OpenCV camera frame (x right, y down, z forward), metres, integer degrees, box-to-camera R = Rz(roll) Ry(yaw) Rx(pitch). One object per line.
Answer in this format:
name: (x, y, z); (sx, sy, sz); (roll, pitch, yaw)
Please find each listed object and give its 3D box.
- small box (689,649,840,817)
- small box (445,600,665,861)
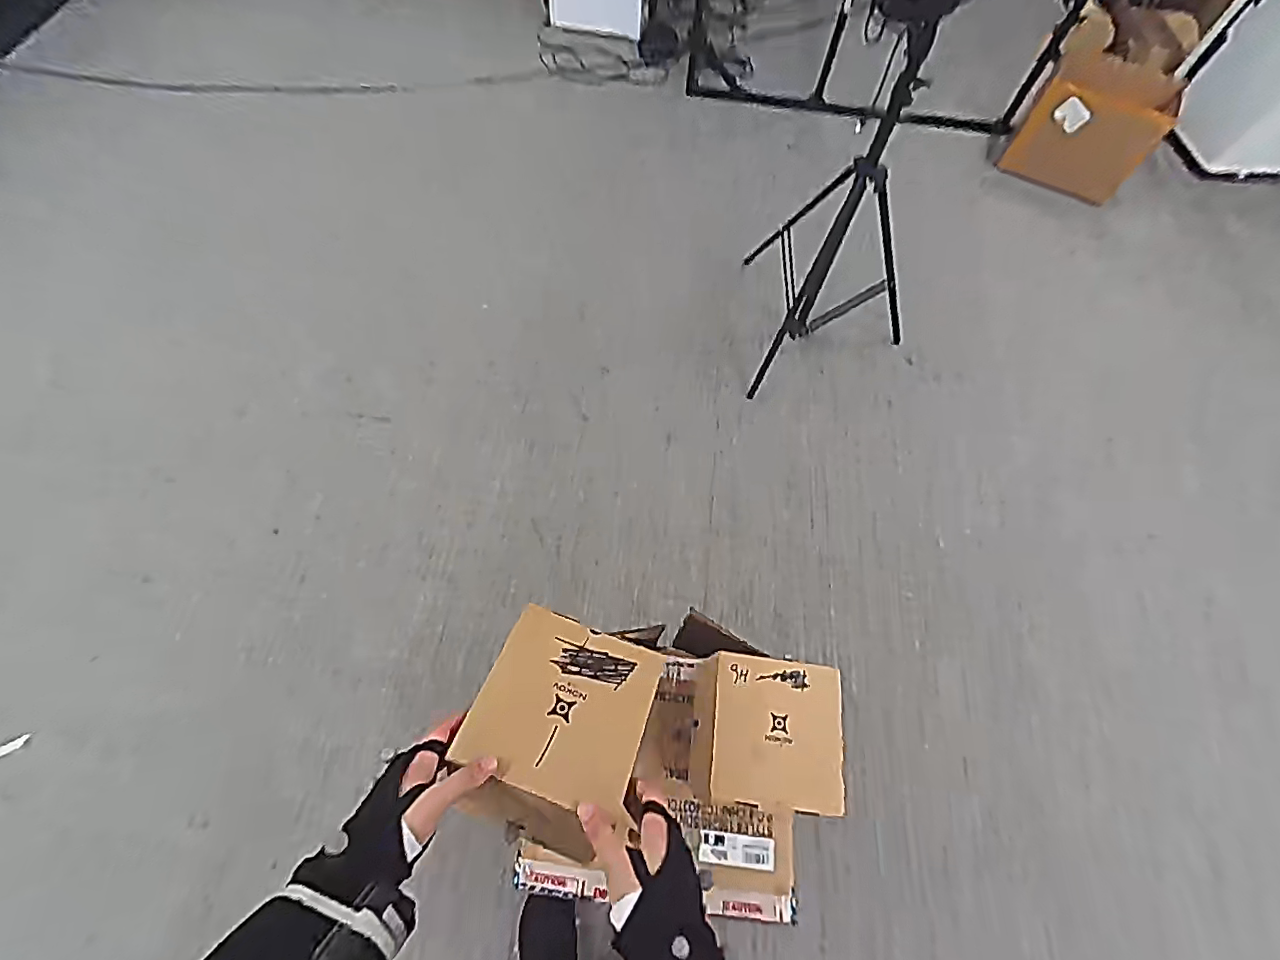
small box: (0.166, 0.346, 0.754); (0.168, 0.176, 0.179); (9, 65, -1)
small box: (-0.090, 0.267, 0.579); (0.168, 0.176, 0.179); (20, 45, 4)
